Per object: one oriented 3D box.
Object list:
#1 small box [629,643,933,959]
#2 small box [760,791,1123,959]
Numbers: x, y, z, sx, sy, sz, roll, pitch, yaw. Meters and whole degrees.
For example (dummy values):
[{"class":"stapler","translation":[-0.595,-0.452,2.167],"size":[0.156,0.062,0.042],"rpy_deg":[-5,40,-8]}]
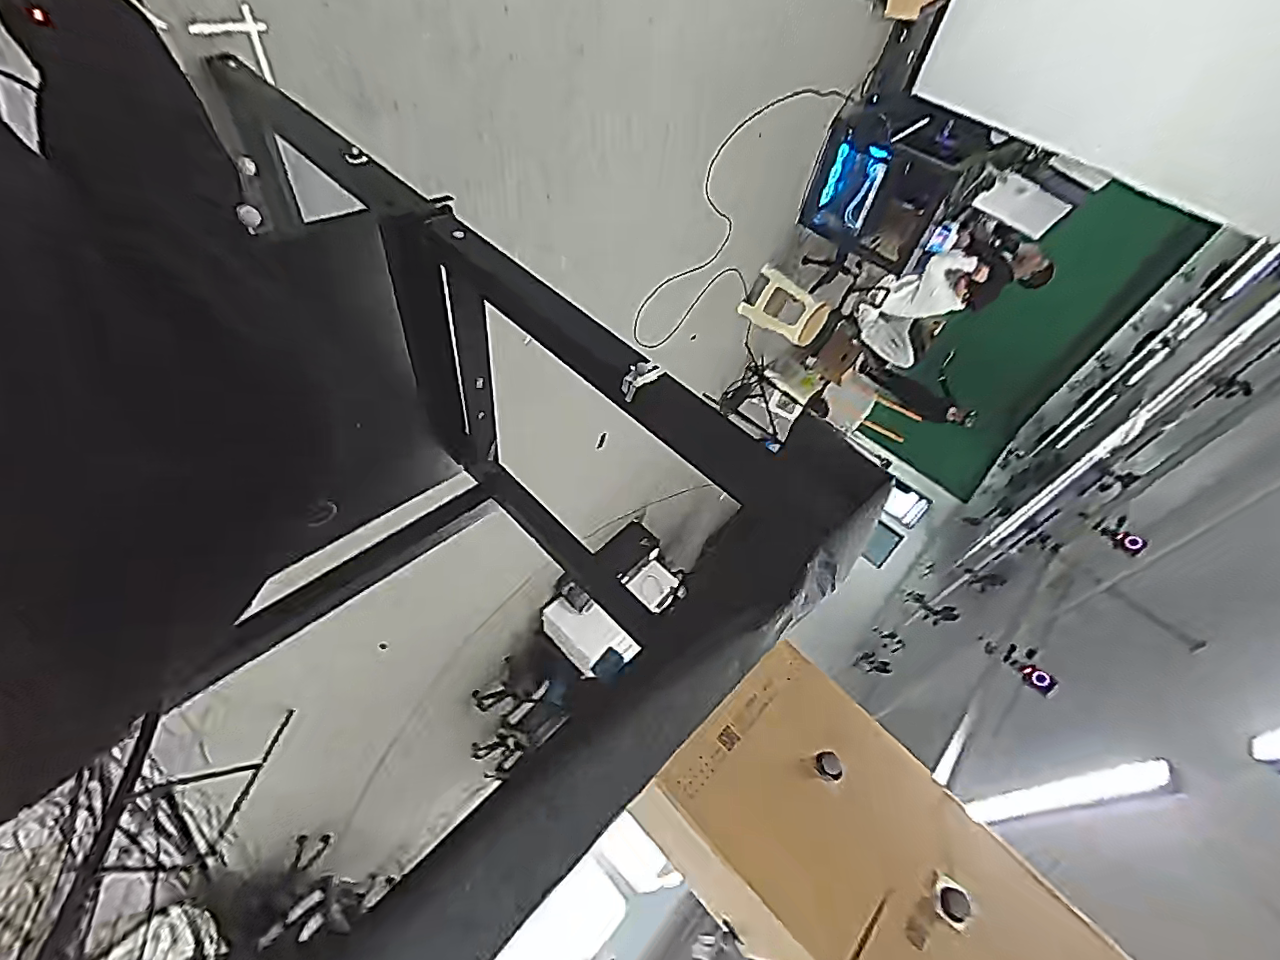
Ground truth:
[{"class":"small box","translation":[0.109,0.276,0.482],"size":[0.168,0.176,0.179],"rpy_deg":[-35,158,-32]},{"class":"small box","translation":[0.220,0.381,0.427],"size":[0.168,0.176,0.179],"rpy_deg":[-36,157,-34]}]
